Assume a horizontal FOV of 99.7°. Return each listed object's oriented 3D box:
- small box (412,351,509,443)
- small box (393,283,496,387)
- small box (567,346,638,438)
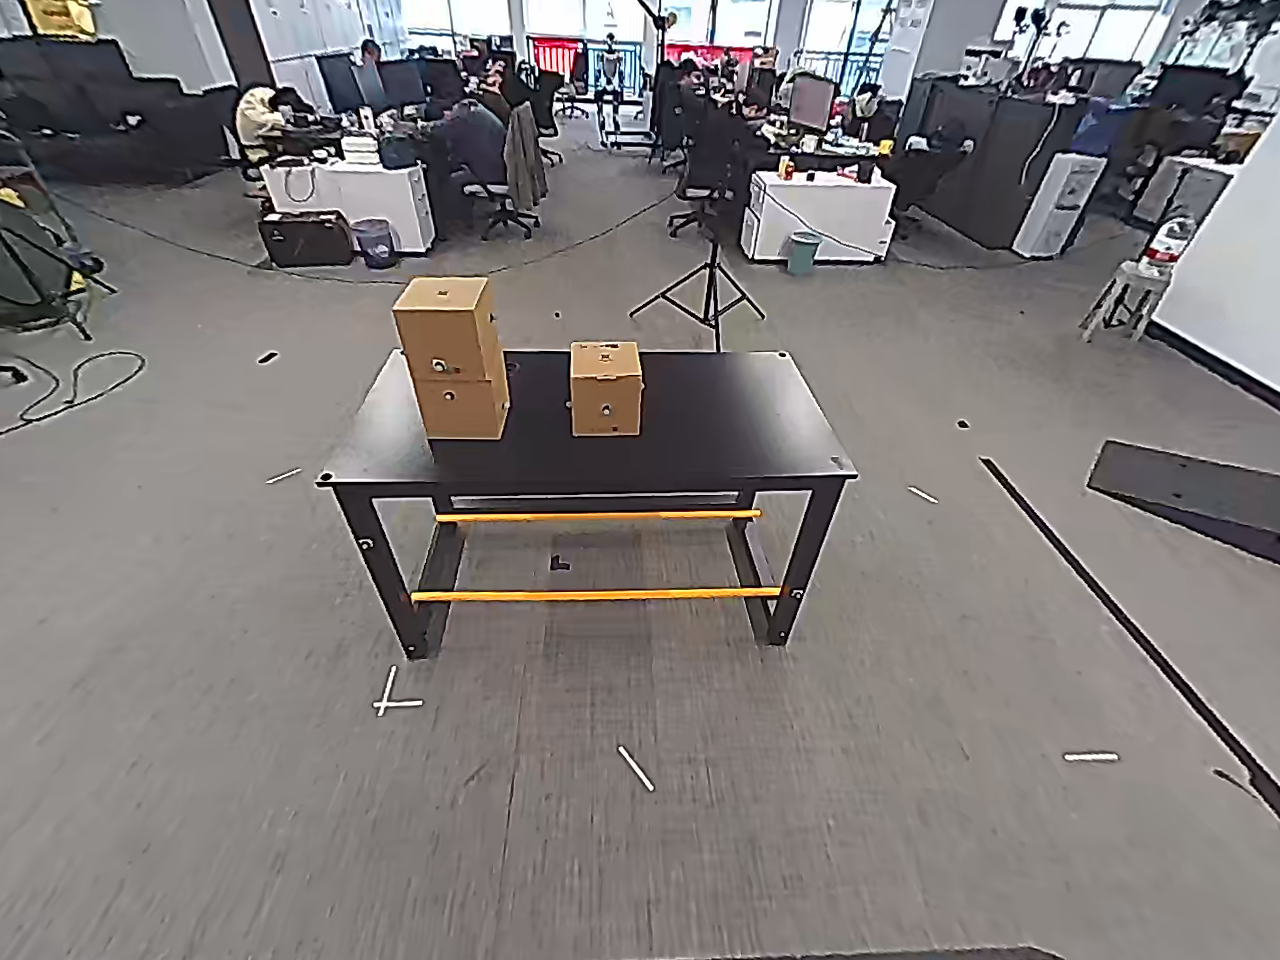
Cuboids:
[{"bbox_3d":[-0.426,-0.202,1.312,0.179,0.176,0.168,1,40,-4],"label":"small box"},{"bbox_3d":[-0.423,-0.325,1.206,0.168,0.176,0.179,-2,41,-3],"label":"small box"},{"bbox_3d":[-0.092,-0.217,1.351,0.168,0.176,0.179,-2,41,-5],"label":"small box"}]
